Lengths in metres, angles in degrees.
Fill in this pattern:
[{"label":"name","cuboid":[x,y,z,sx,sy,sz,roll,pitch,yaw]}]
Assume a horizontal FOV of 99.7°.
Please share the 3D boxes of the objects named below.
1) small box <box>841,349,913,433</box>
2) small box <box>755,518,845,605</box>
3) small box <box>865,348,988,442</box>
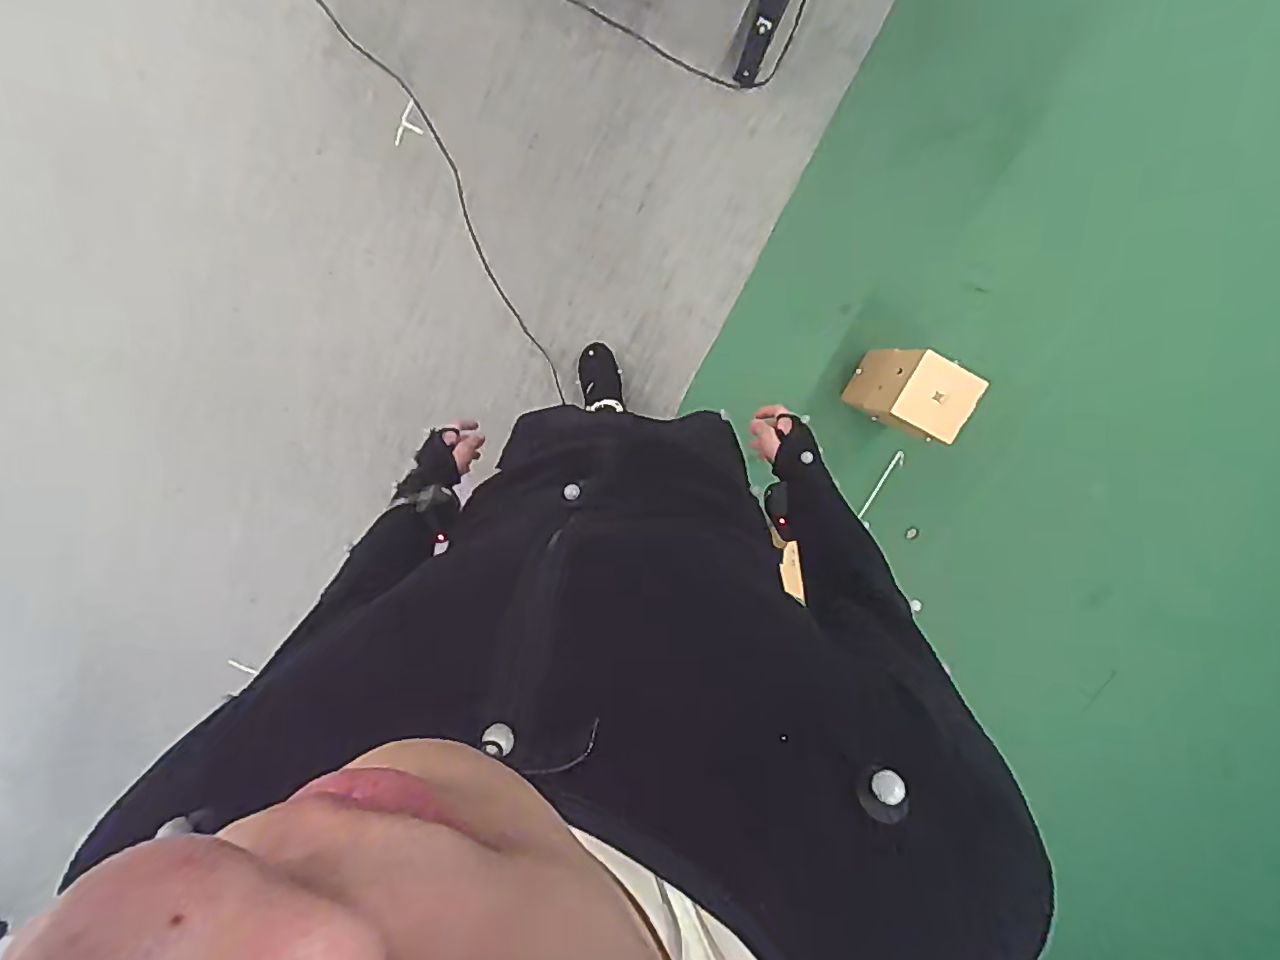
[{"label":"small box","cuboid":[0.696,-0.251,1.496,0.179,0.176,0.168,26,101,-6]},{"label":"small box","cuboid":[0.468,0.235,1.610,0.179,0.176,0.168,28,102,-6]},{"label":"small box","cuboid":[0.697,-0.212,1.340,0.179,0.176,0.168,26,101,-7]}]
